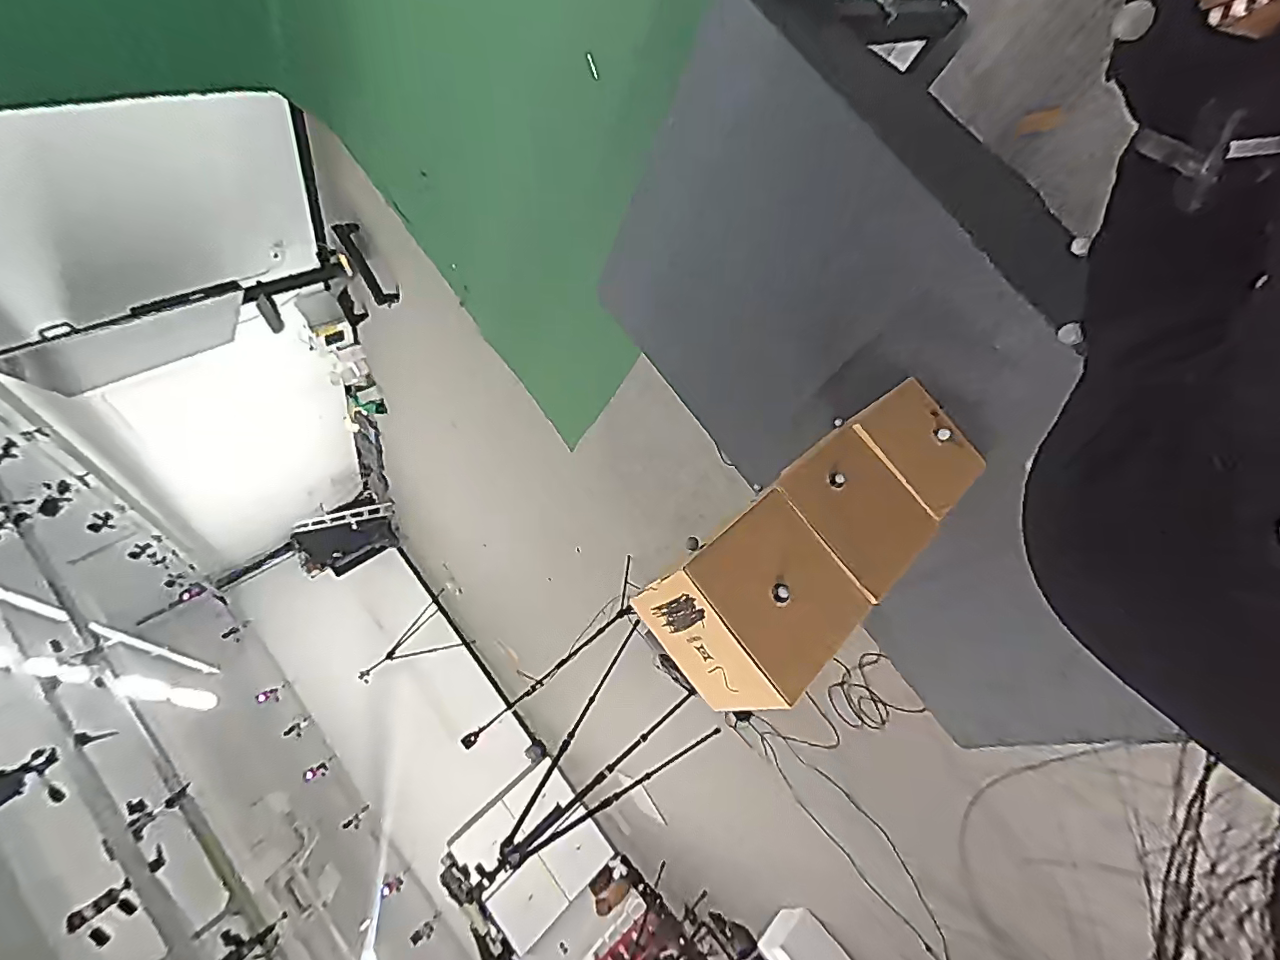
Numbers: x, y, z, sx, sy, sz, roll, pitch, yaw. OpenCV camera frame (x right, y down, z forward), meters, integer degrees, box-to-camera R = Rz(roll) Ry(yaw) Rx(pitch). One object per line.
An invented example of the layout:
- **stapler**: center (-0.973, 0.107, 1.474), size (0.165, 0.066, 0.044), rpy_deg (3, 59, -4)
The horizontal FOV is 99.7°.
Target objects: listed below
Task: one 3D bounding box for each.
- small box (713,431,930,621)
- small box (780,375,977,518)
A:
- **small box**: center (0.239, 0.056, 0.723), size (0.179, 0.176, 0.168), rpy_deg (51, 149, 8)
- **small box**: center (0.353, -0.025, 0.807), size (0.168, 0.176, 0.179), rpy_deg (53, 147, 6)
